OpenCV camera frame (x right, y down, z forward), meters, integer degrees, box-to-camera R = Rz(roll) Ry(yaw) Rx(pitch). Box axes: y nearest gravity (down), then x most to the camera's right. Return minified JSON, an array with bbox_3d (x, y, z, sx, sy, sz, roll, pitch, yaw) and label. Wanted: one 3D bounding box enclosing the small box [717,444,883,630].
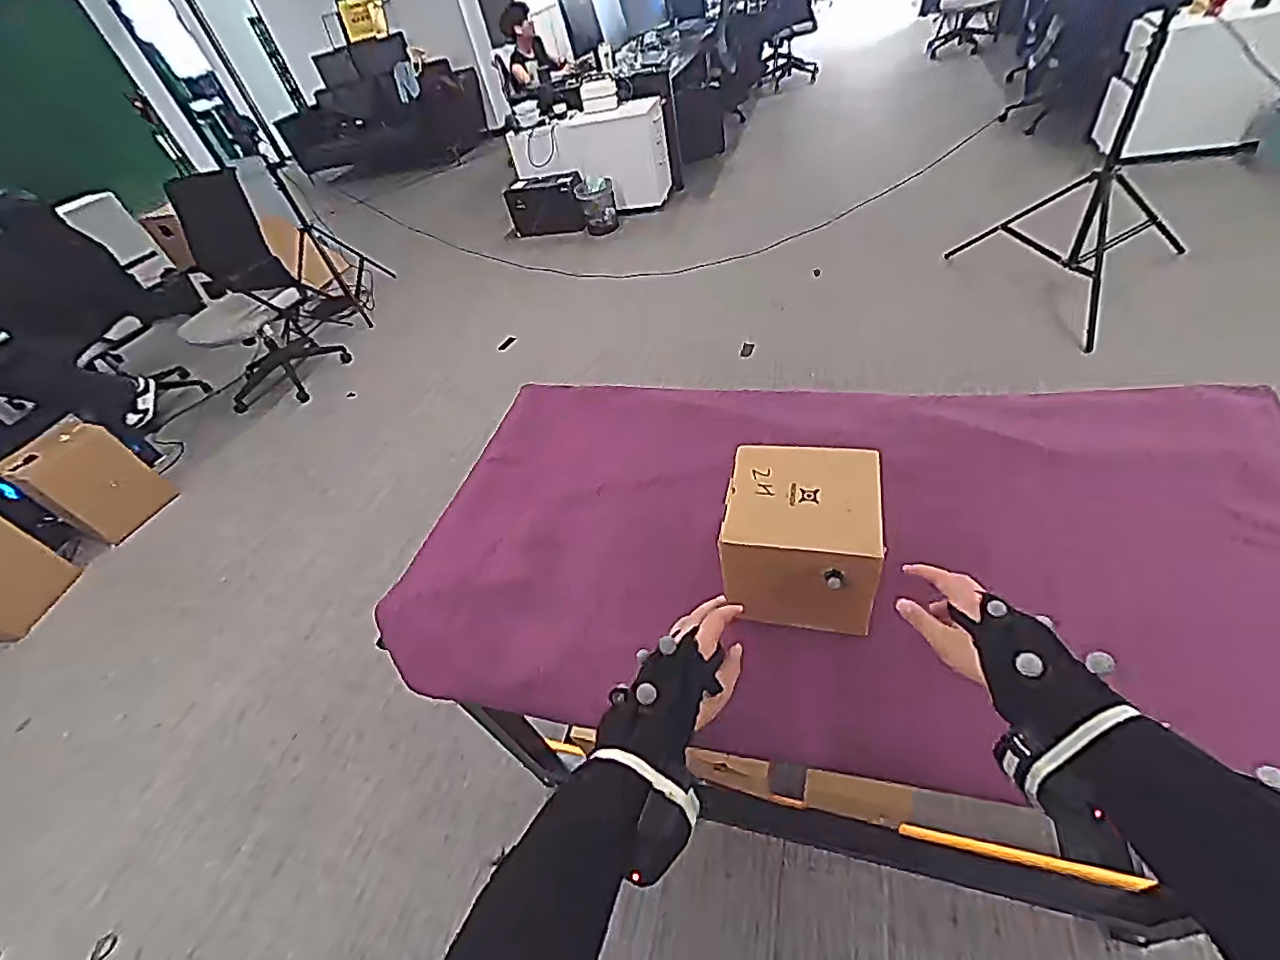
[{"bbox_3d":[0.205,0.073,0.694,0.179,0.176,0.168,4,46,18],"label":"small box"}]
